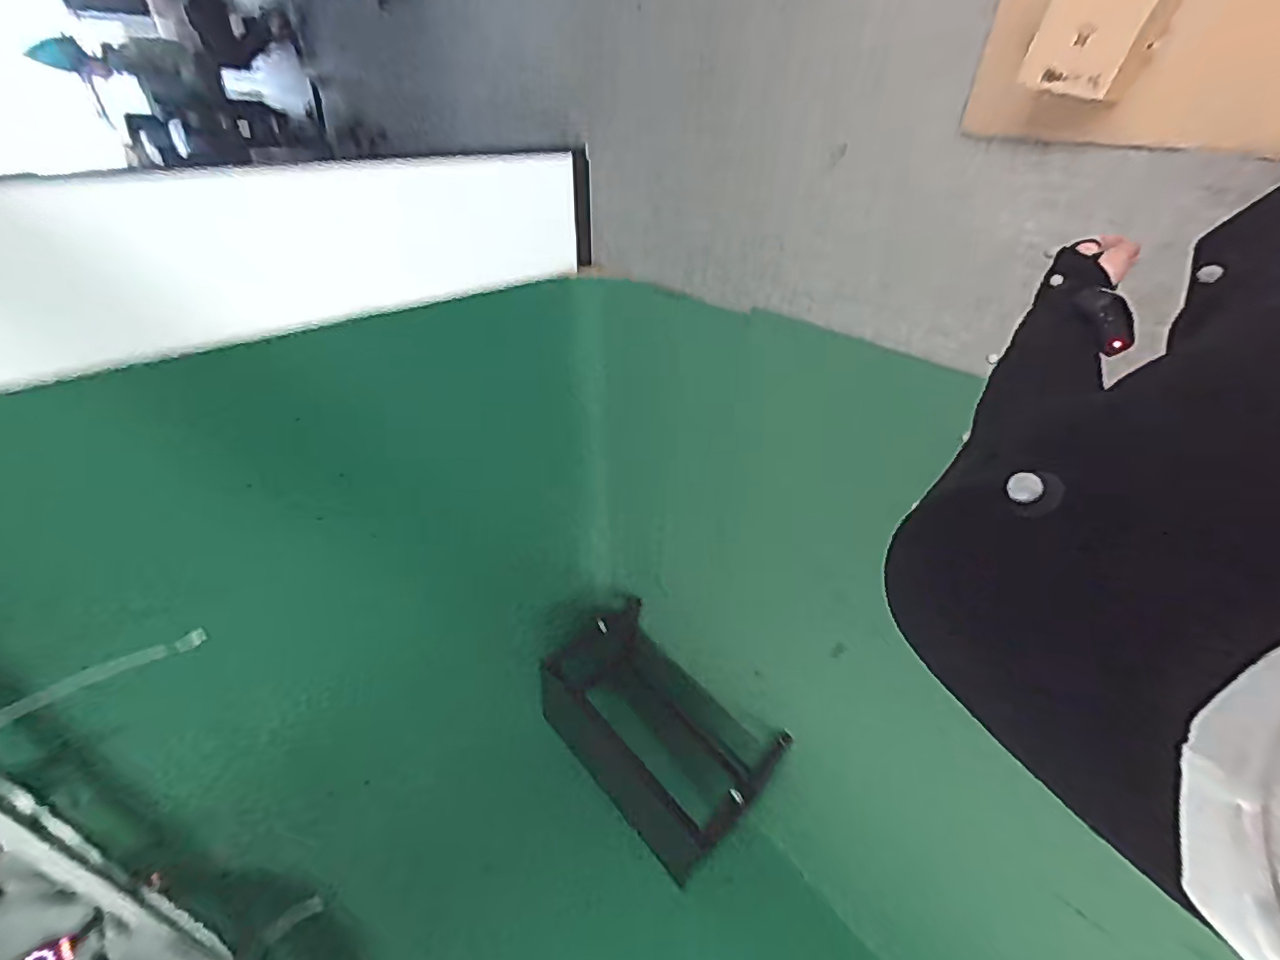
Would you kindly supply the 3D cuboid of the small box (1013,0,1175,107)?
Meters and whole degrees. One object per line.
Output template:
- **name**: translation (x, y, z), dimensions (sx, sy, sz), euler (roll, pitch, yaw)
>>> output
- **small box**: translation (0.871, -0.839, 1.038), dimensions (0.168, 0.176, 0.179), euler (40, 139, 30)
